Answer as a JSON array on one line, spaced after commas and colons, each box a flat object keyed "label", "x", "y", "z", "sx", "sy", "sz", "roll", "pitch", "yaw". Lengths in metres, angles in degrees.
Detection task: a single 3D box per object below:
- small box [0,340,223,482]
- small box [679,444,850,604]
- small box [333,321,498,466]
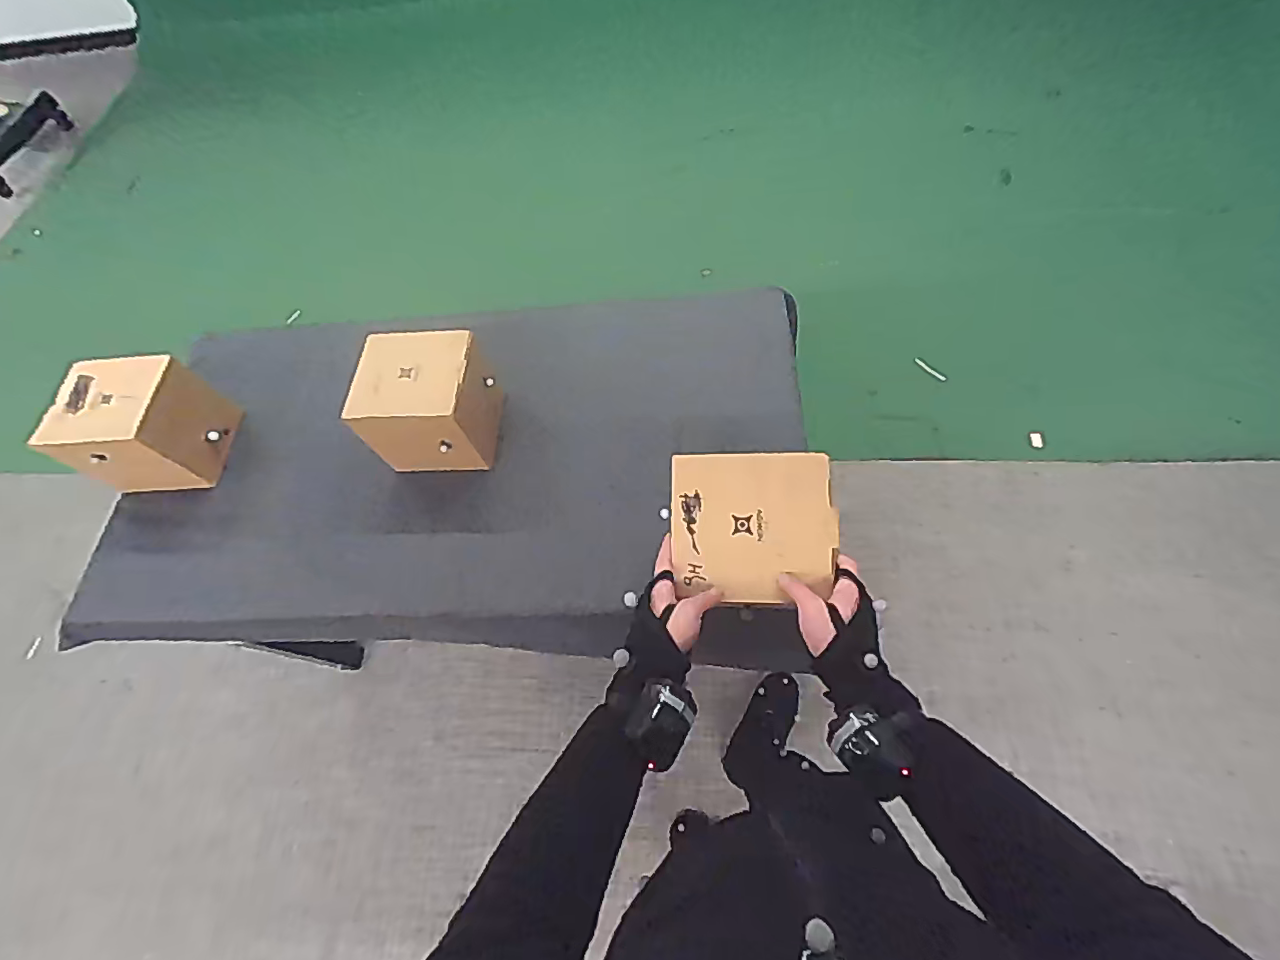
[{"label": "small box", "x": -0.844, "y": -0.106, "z": 0.880, "sx": 0.179, "sy": 0.176, "sz": 0.168, "roll": -2, "pitch": 62, "yaw": 1}, {"label": "small box", "x": 0.137, "y": 0.061, "z": 0.654, "sx": 0.179, "sy": 0.176, "sz": 0.168, "roll": 1, "pitch": 74, "yaw": 5}, {"label": "small box", "x": -0.341, "y": -0.132, "z": 0.865, "sx": 0.179, "sy": 0.176, "sz": 0.168, "roll": -1, "pitch": 61, "yaw": 4}]
